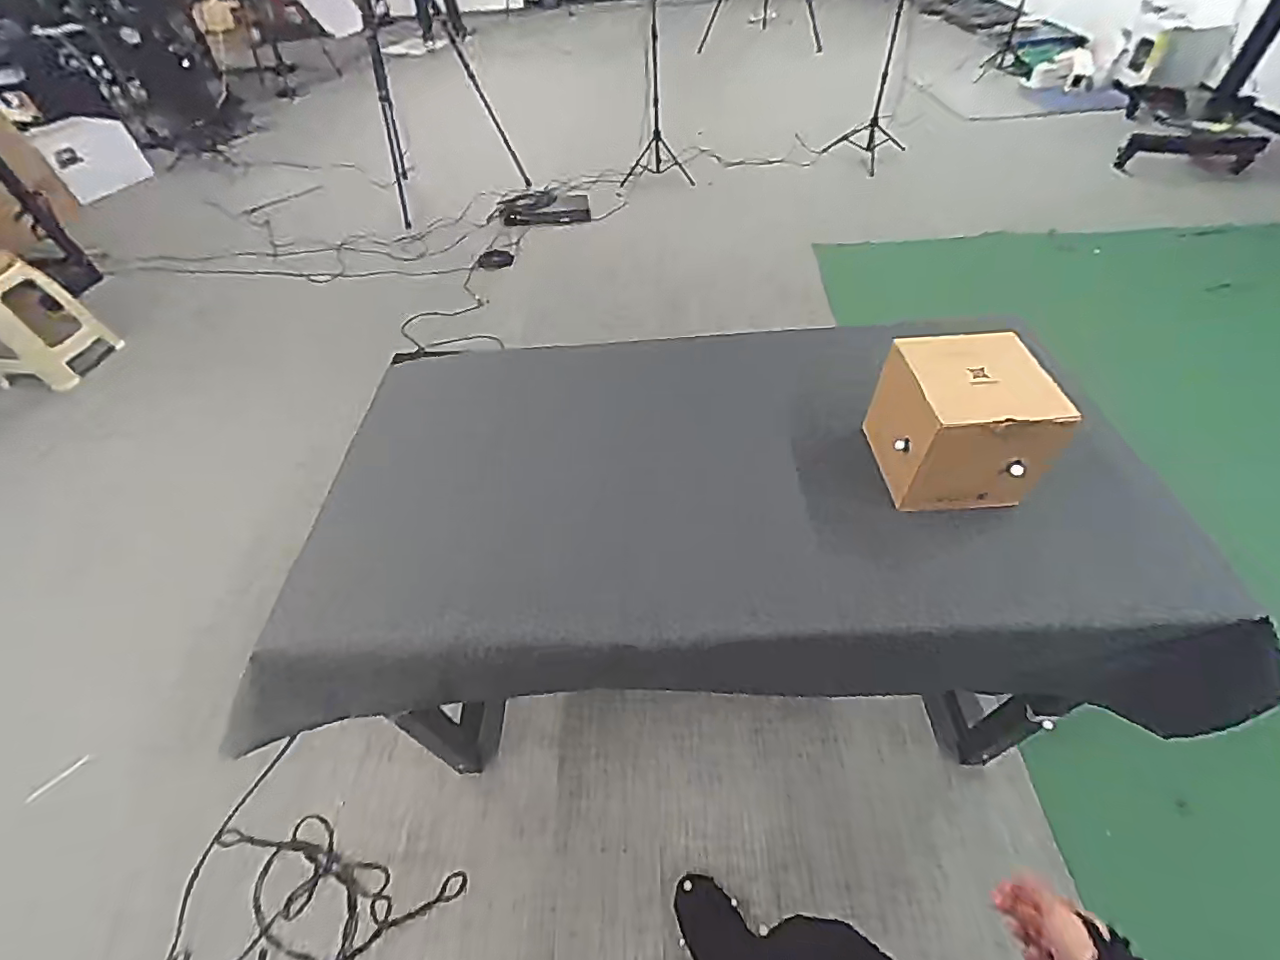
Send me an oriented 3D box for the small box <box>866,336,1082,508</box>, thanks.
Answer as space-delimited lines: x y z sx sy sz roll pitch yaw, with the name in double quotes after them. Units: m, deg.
0.431 -0.073 0.736 0.168 0.176 0.179 -3 48 1 "small box"
